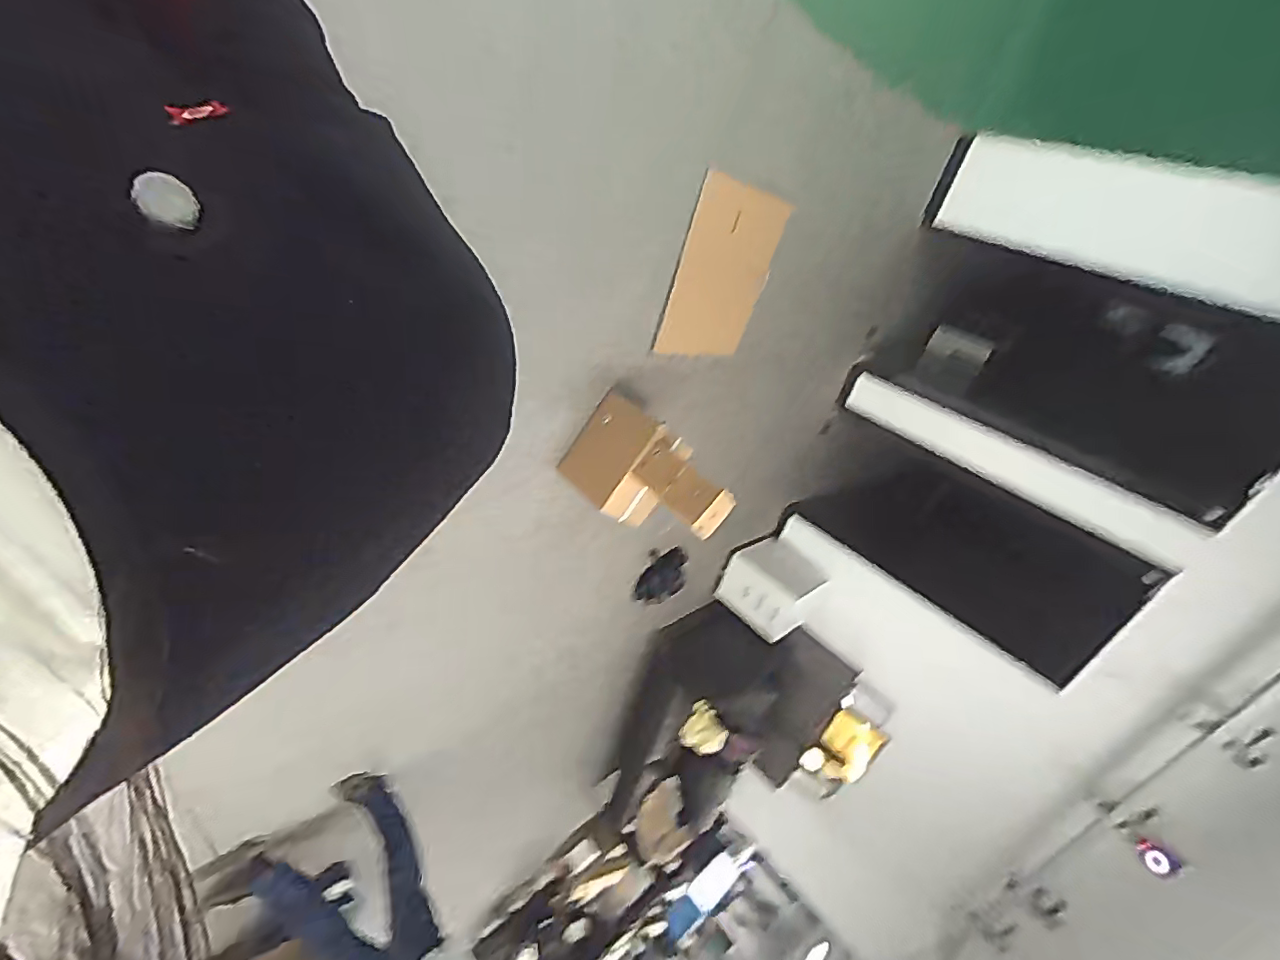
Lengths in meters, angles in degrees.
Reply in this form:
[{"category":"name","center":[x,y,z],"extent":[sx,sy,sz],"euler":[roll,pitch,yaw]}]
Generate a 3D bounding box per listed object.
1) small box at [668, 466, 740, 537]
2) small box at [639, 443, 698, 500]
[{"category":"small box","center":[0.232,0.074,1.967],"extent":[0.179,0.176,0.168],"euler":[-52,148,0]},{"category":"small box","center":[0.124,-0.016,2.046],"extent":[0.168,0.176,0.179],"euler":[-52,147,-1]}]
